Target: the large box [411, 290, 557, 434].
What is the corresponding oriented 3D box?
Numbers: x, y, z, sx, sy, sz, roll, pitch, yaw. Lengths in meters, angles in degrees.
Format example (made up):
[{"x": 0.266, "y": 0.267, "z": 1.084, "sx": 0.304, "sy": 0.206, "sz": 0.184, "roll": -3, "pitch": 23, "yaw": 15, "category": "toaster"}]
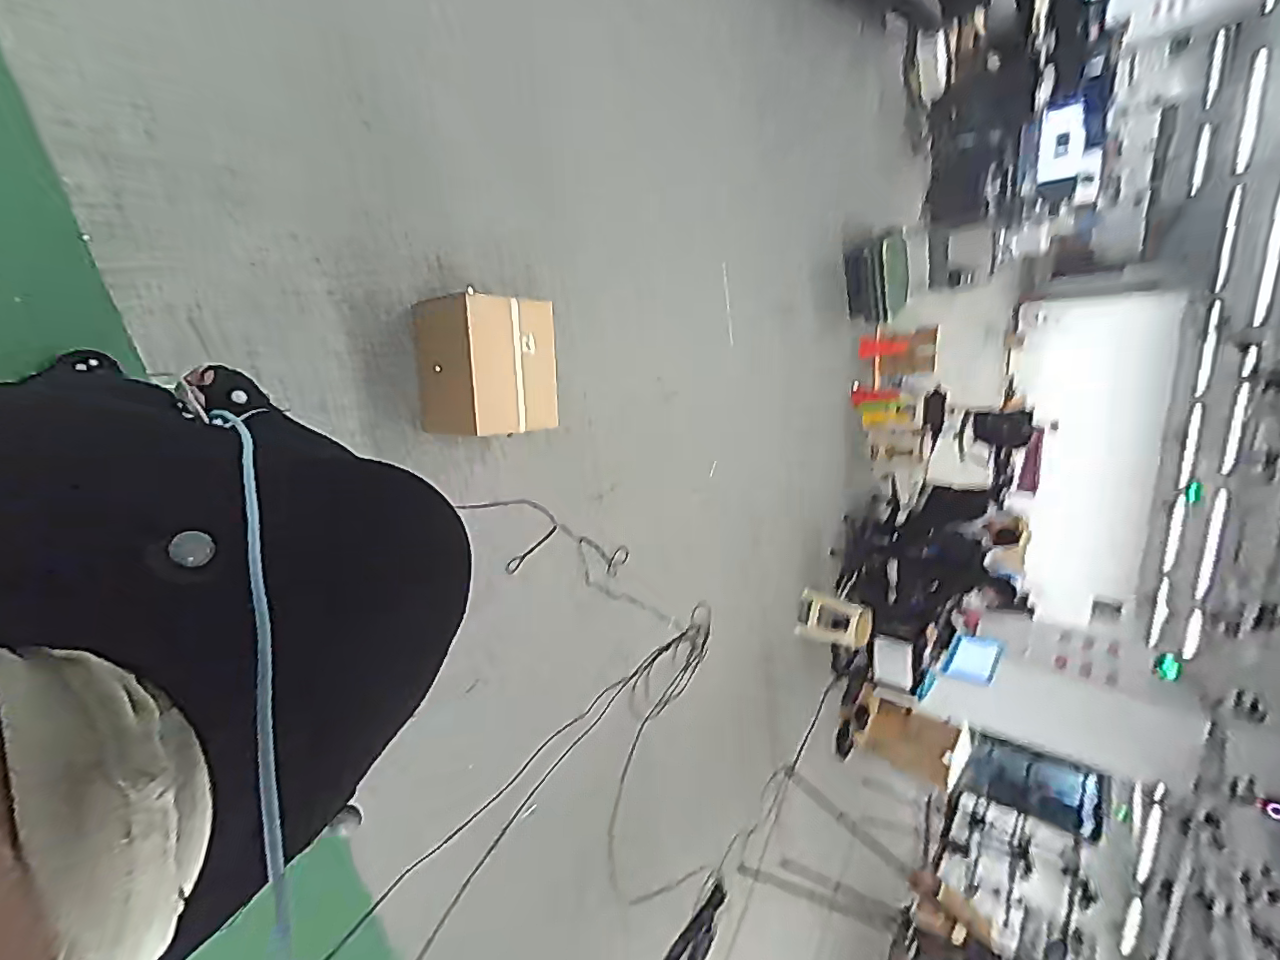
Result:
[{"x": -0.495, "y": -0.364, "z": 1.723, "sx": 0.320, "sy": 0.320, "sz": 0.408, "roll": -14, "pitch": 105, "yaw": -48, "category": "large box"}]
